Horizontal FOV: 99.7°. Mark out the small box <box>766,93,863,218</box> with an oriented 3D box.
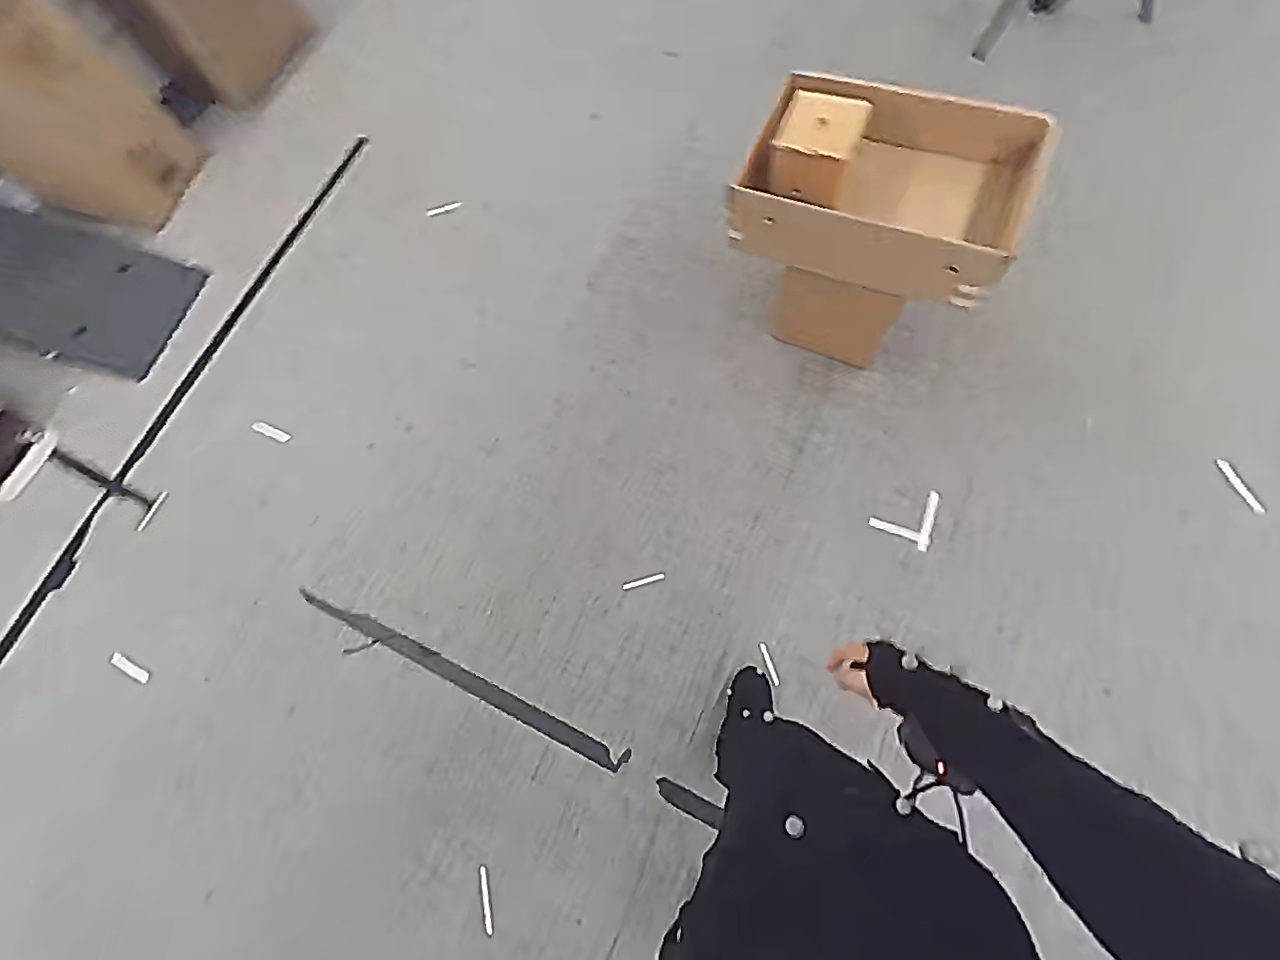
[{"bbox_3d":[0.405,-0.766,1.285,0.168,0.176,0.179,20,76,14],"label":"small box"}]
